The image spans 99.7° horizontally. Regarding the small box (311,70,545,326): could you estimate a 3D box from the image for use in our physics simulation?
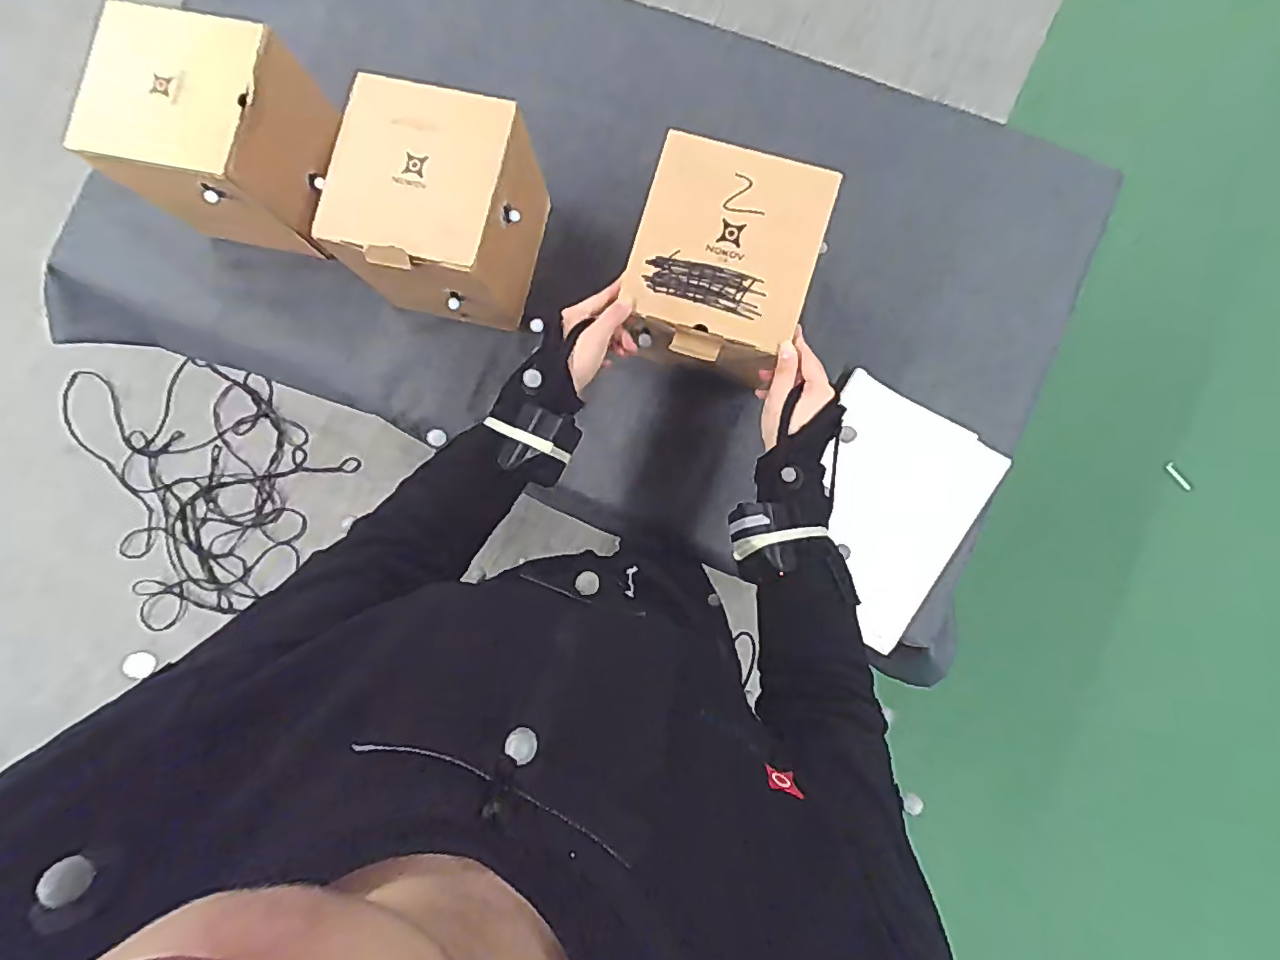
[{"bbox_3d":[-0.214,-0.292,0.596,0.168,0.176,0.179,13,85,2],"label":"small box"}]

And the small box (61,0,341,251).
[{"bbox_3d":[-0.468,-0.386,0.615,0.179,0.176,0.168,11,85,3],"label":"small box"}]
